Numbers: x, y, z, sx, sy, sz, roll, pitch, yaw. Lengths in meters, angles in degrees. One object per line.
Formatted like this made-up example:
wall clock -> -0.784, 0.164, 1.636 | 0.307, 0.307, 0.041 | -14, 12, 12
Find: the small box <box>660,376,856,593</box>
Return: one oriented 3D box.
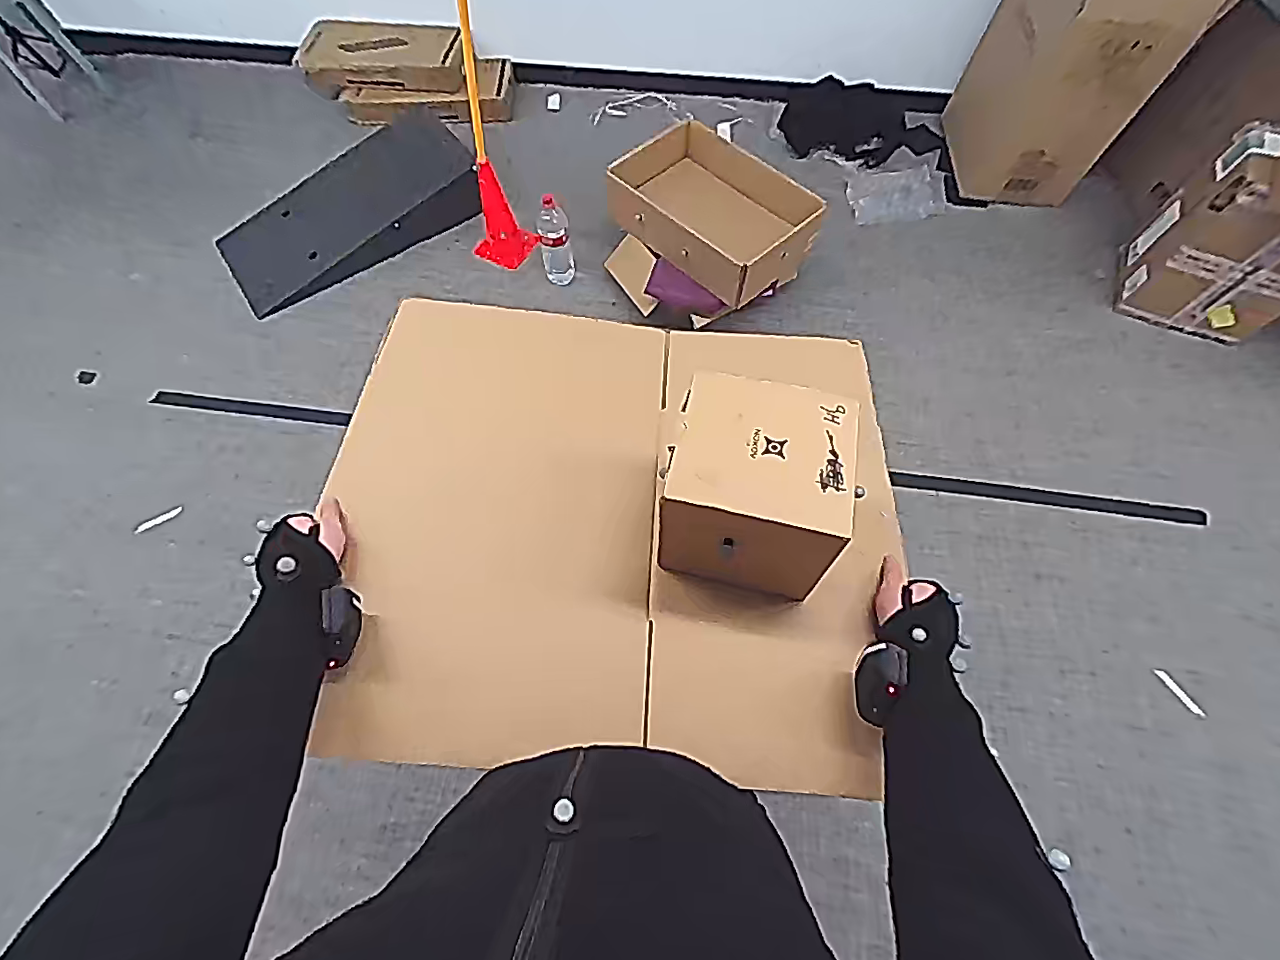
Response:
small box -> 0.124, 0.011, 0.606 | 0.179, 0.176, 0.168 | 12, 60, 8
